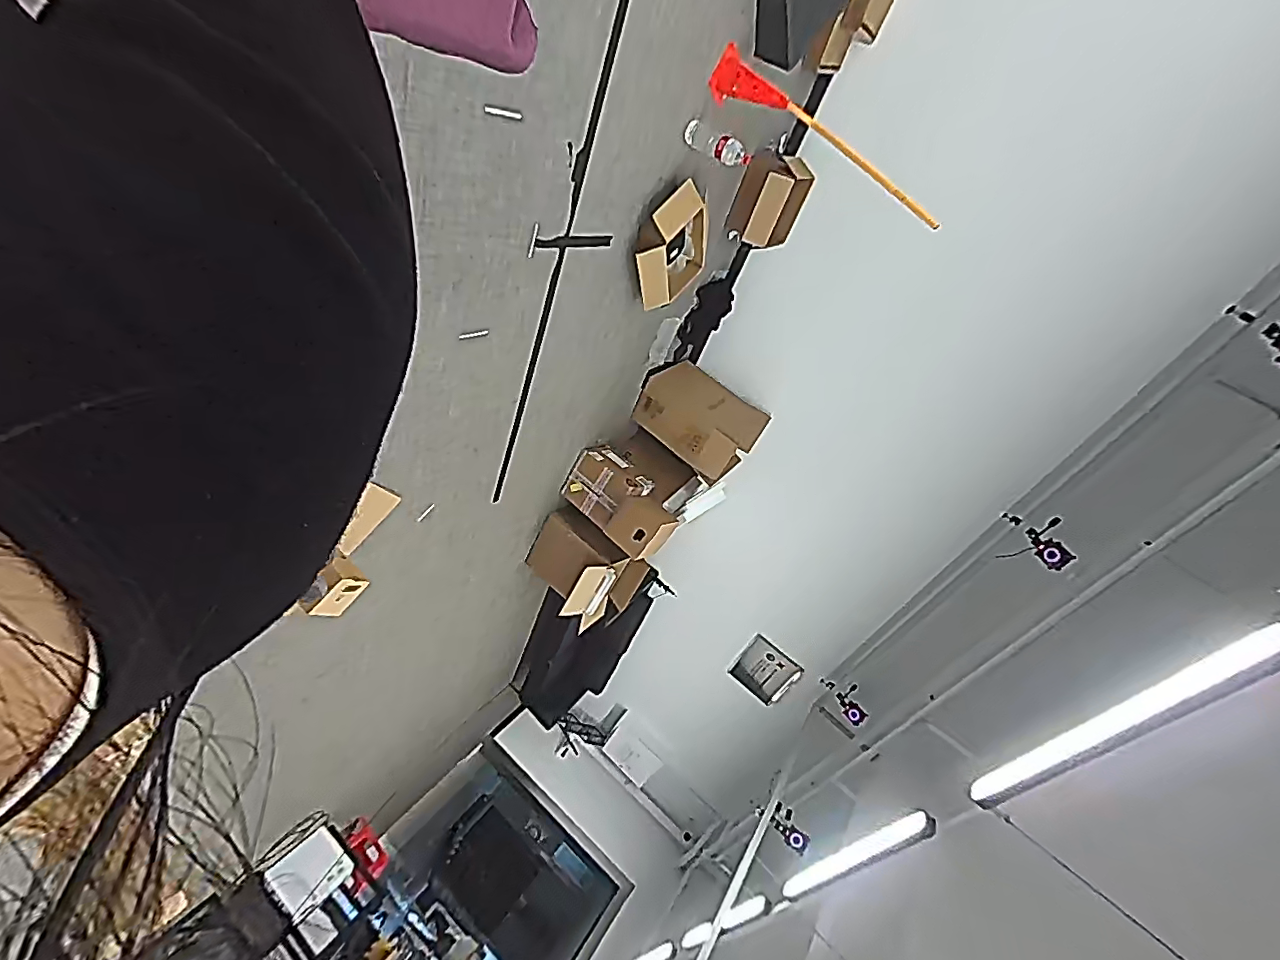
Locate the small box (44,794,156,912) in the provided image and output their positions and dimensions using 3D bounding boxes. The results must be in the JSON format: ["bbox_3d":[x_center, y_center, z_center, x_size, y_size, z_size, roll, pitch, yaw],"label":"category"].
[{"bbox_3d":[-1.469,1.012,1.475,0.179,0.176,0.168,-33,156,-52],"label":"small box"}]

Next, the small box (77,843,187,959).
[{"bbox_3d":[-1.348,1.119,1.441,0.168,0.176,0.179,-30,154,-54],"label":"small box"}]

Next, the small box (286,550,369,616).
[{"bbox_3d":[-1.173,0.386,2.026,0.179,0.176,0.168,-48,163,-7],"label":"small box"}]
